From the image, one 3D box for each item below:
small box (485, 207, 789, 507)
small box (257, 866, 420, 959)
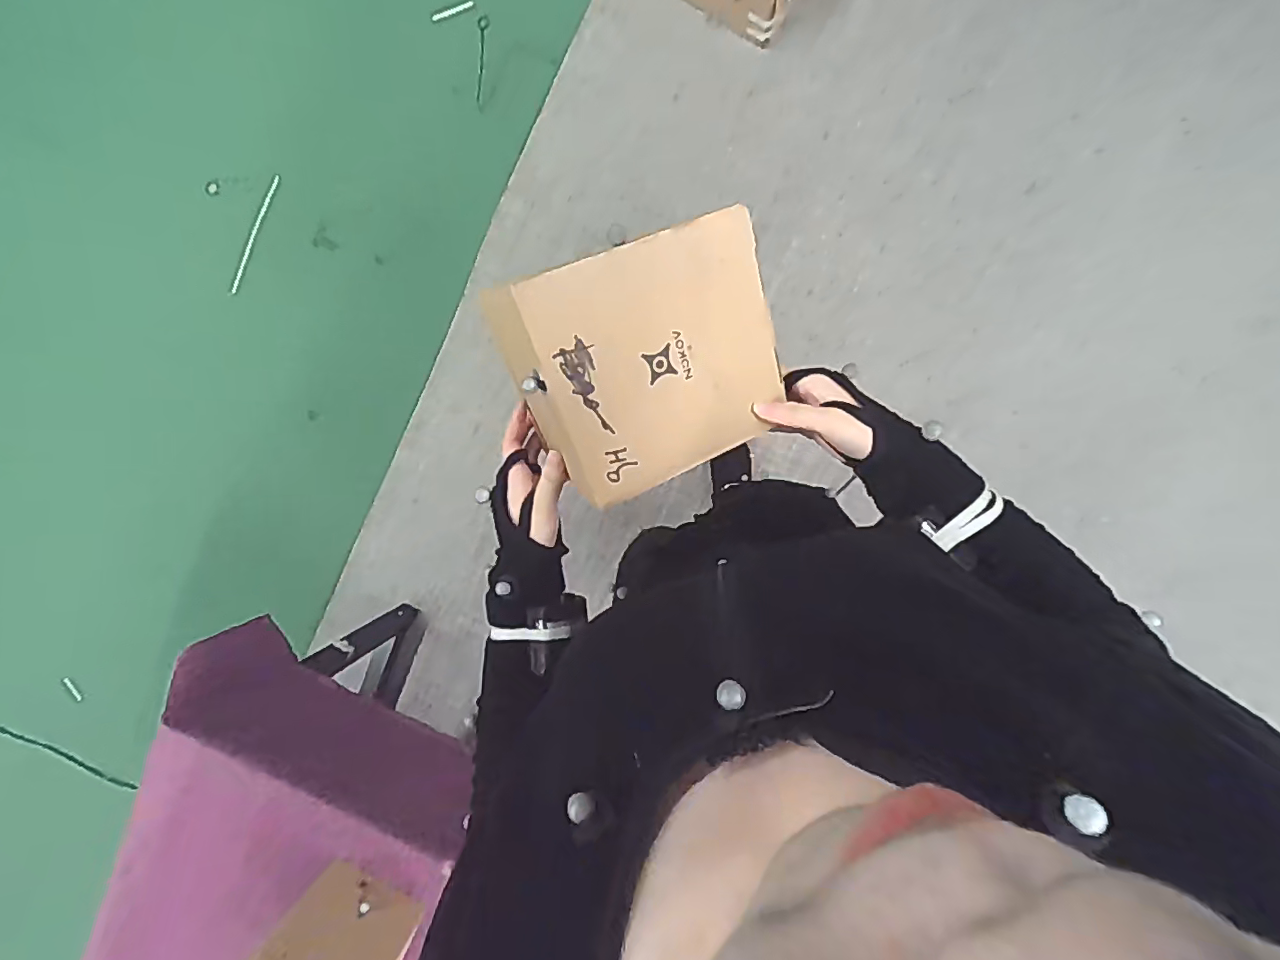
[{"bbox_3d":[-0.009,-0.106,0.450,0.179,0.176,0.168,-26,114,-15],"label":"small box"},{"bbox_3d":[-0.457,0.732,0.794,0.168,0.176,0.179,26,97,3],"label":"small box"}]
